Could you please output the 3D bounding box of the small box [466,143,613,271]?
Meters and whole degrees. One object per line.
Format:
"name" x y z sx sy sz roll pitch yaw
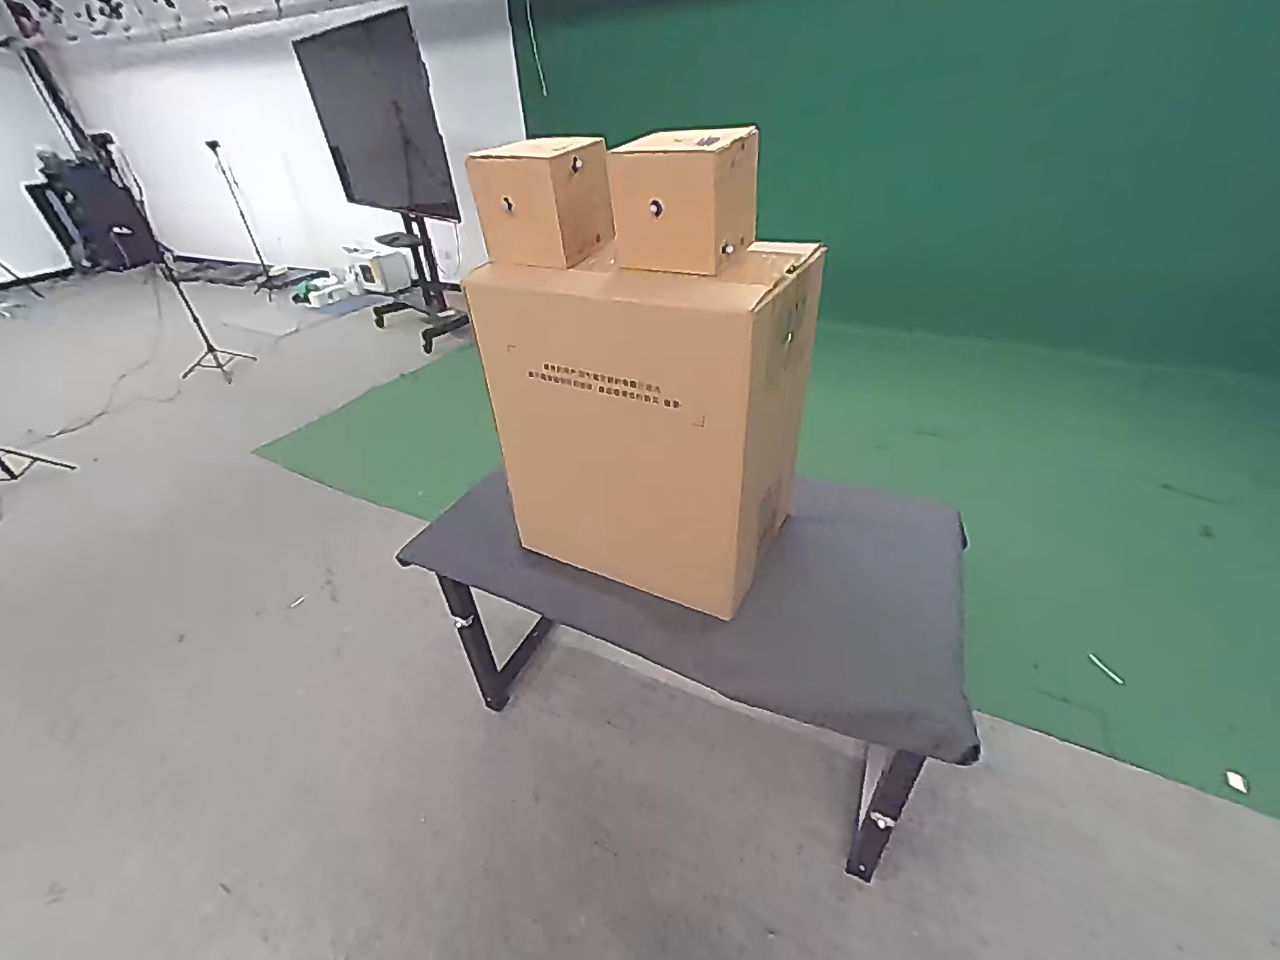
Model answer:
"small box" -0.166 -0.477 0.949 0.179 0.176 0.168 15 44 25

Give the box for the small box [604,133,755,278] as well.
"small box" 0.069 -0.432 0.854 0.179 0.176 0.168 15 44 26
